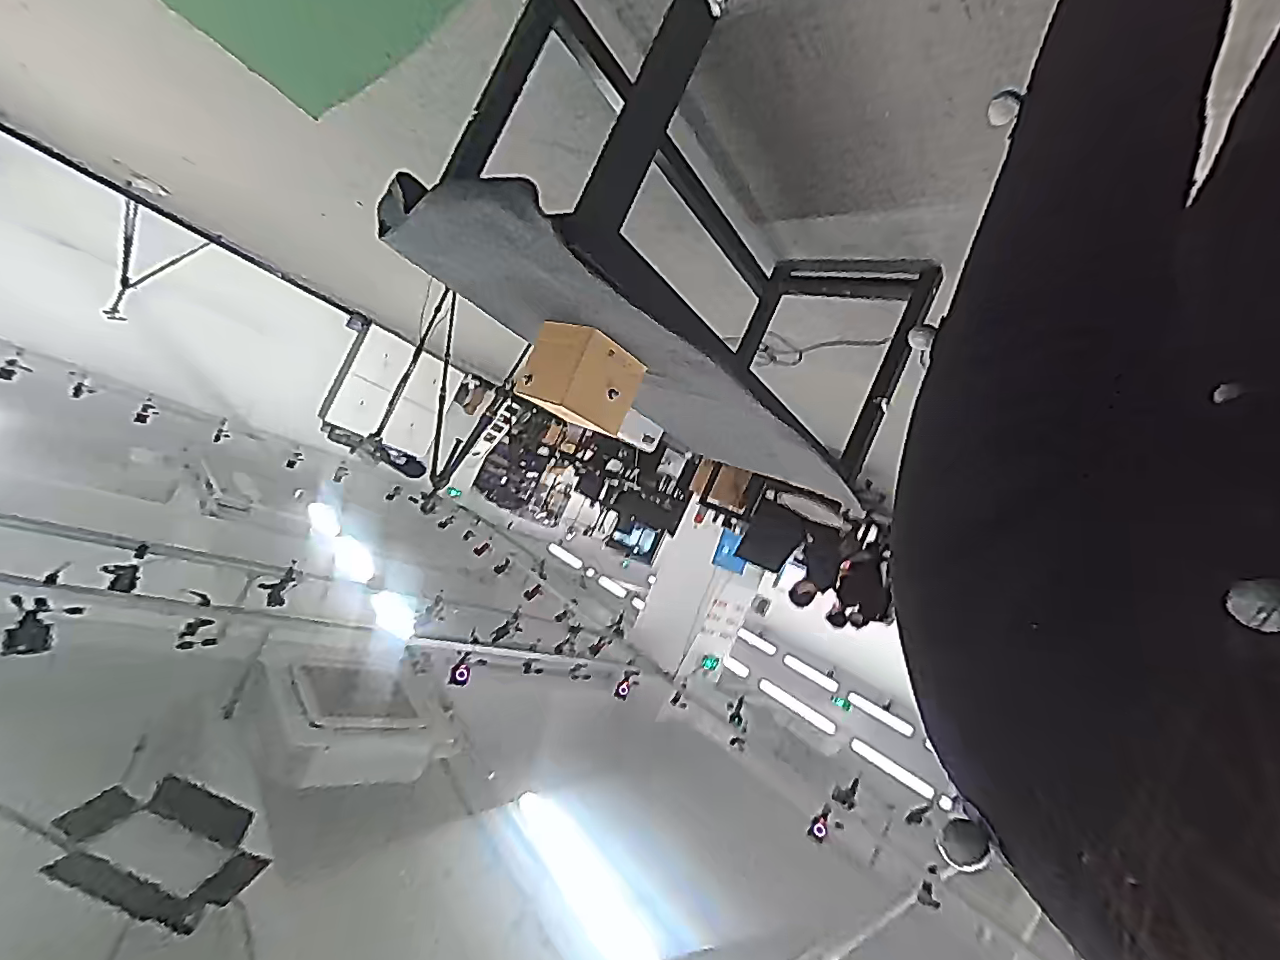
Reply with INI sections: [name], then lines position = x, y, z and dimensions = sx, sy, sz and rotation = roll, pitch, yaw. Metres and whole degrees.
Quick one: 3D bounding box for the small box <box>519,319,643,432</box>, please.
[small box]
position = -0.115, -0.220, 1.127
dimensions = 0.179, 0.176, 0.168
rotation = 23, 178, 44
